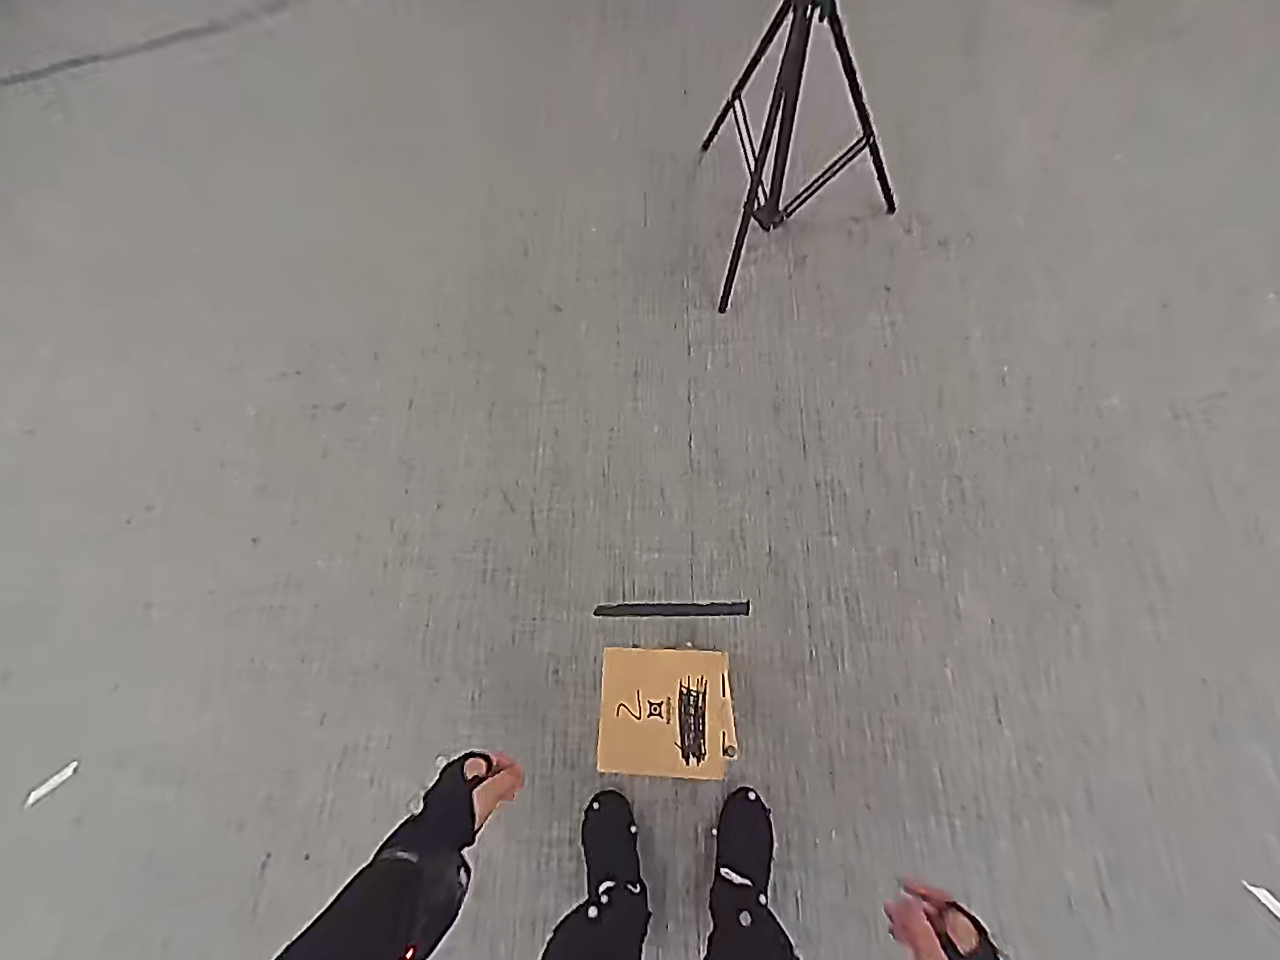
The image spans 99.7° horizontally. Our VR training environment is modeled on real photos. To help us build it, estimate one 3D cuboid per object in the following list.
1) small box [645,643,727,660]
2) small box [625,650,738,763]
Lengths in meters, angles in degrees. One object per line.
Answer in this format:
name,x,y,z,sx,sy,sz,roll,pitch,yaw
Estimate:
small box,0.096,0.439,1.130,0.168,0.176,0.179,2,72,6
small box,0.073,0.398,0.974,0.179,0.176,0.168,-7,71,5
